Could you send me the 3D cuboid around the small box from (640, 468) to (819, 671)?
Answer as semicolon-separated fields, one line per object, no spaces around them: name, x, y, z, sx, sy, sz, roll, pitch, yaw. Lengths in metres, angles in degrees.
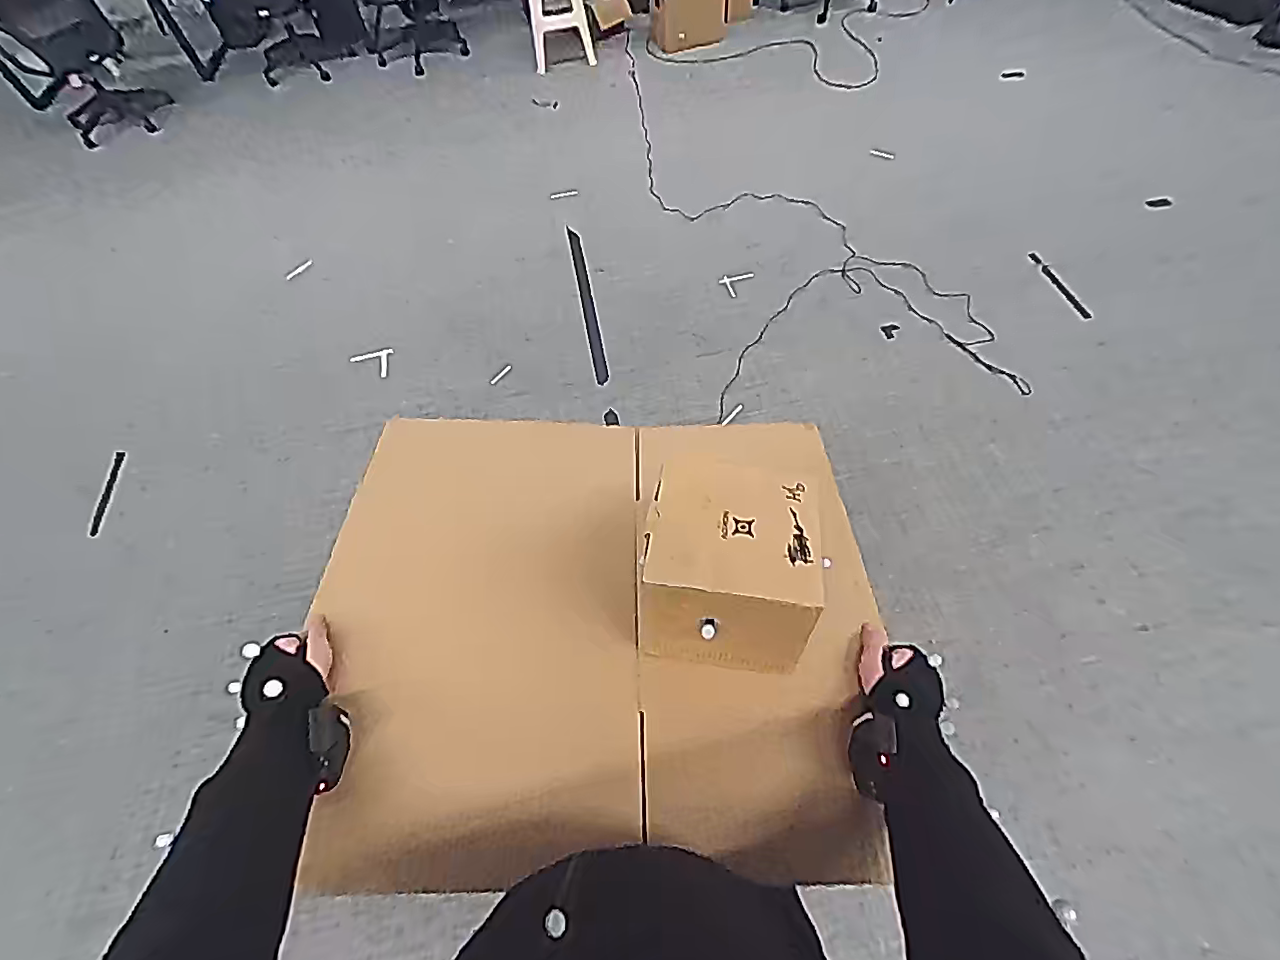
small box;0.102;0.107;0.633;0.179;0.176;0.168;6;50;8
